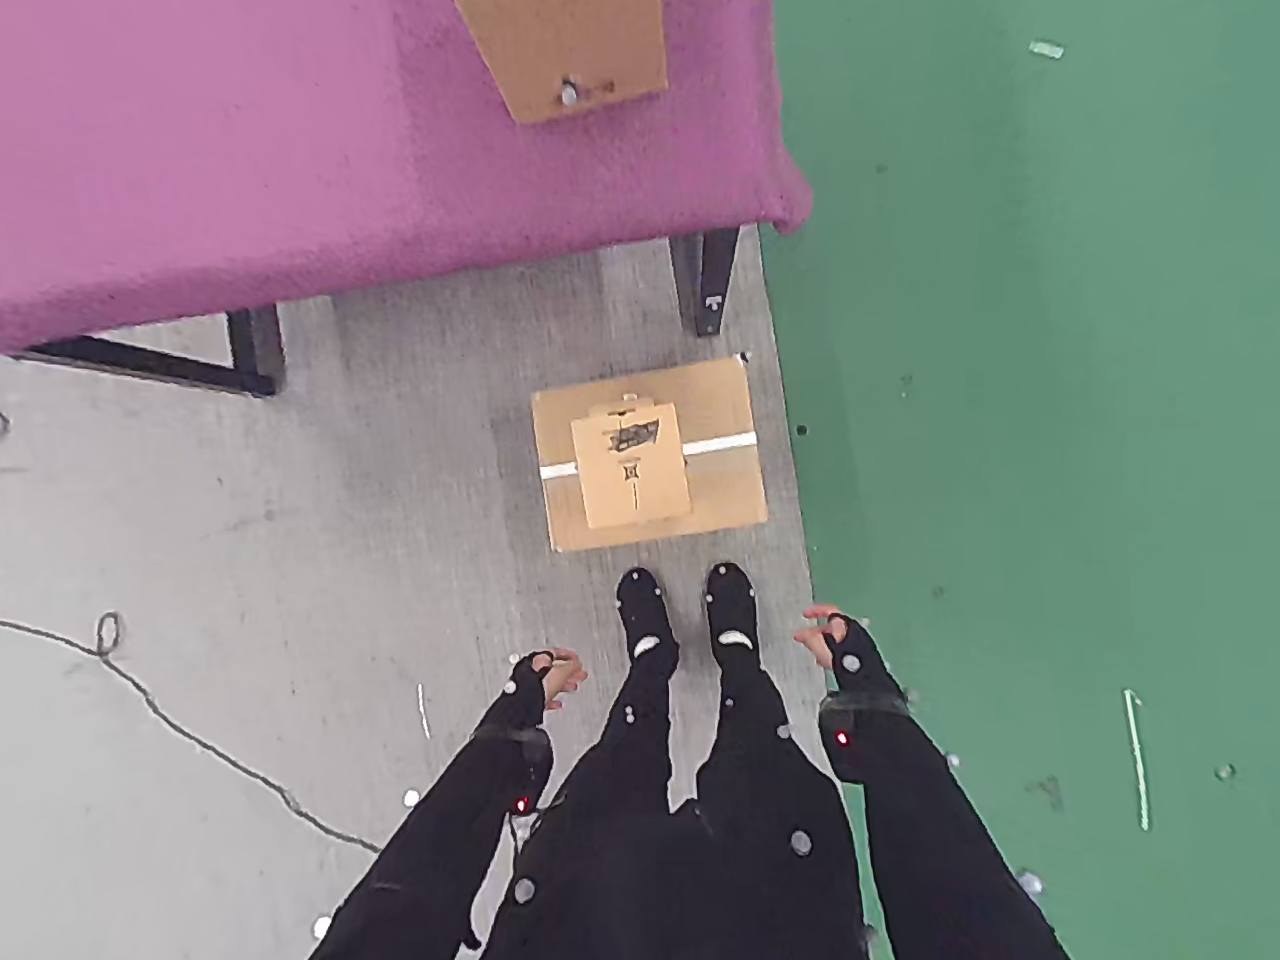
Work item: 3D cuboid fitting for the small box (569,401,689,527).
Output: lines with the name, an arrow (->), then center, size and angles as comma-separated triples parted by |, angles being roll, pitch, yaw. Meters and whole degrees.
small box -> -0.012, -0.026, 0.905 | 0.168, 0.176, 0.179 | -9, 92, 5

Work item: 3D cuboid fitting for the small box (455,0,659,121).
small box -> -0.081, -0.477, 0.489 | 0.168, 0.176, 0.179 | -11, 88, 6
